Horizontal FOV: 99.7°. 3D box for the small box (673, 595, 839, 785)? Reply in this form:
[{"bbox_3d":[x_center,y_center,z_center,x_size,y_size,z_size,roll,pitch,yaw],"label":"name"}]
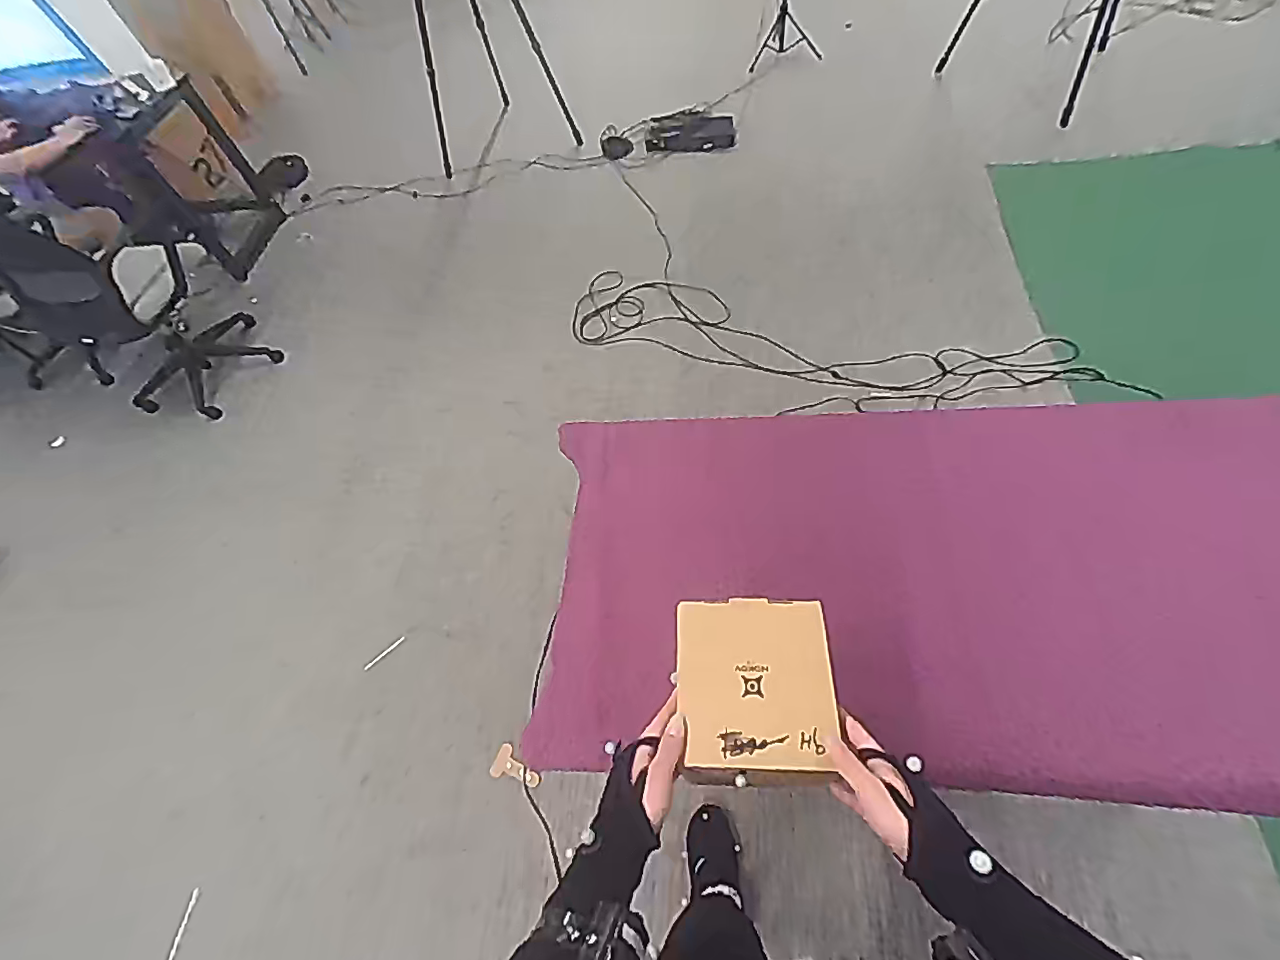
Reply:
[{"bbox_3d":[0.128,0.253,0.648,0.168,0.176,0.179,-2,56,8],"label":"small box"}]
